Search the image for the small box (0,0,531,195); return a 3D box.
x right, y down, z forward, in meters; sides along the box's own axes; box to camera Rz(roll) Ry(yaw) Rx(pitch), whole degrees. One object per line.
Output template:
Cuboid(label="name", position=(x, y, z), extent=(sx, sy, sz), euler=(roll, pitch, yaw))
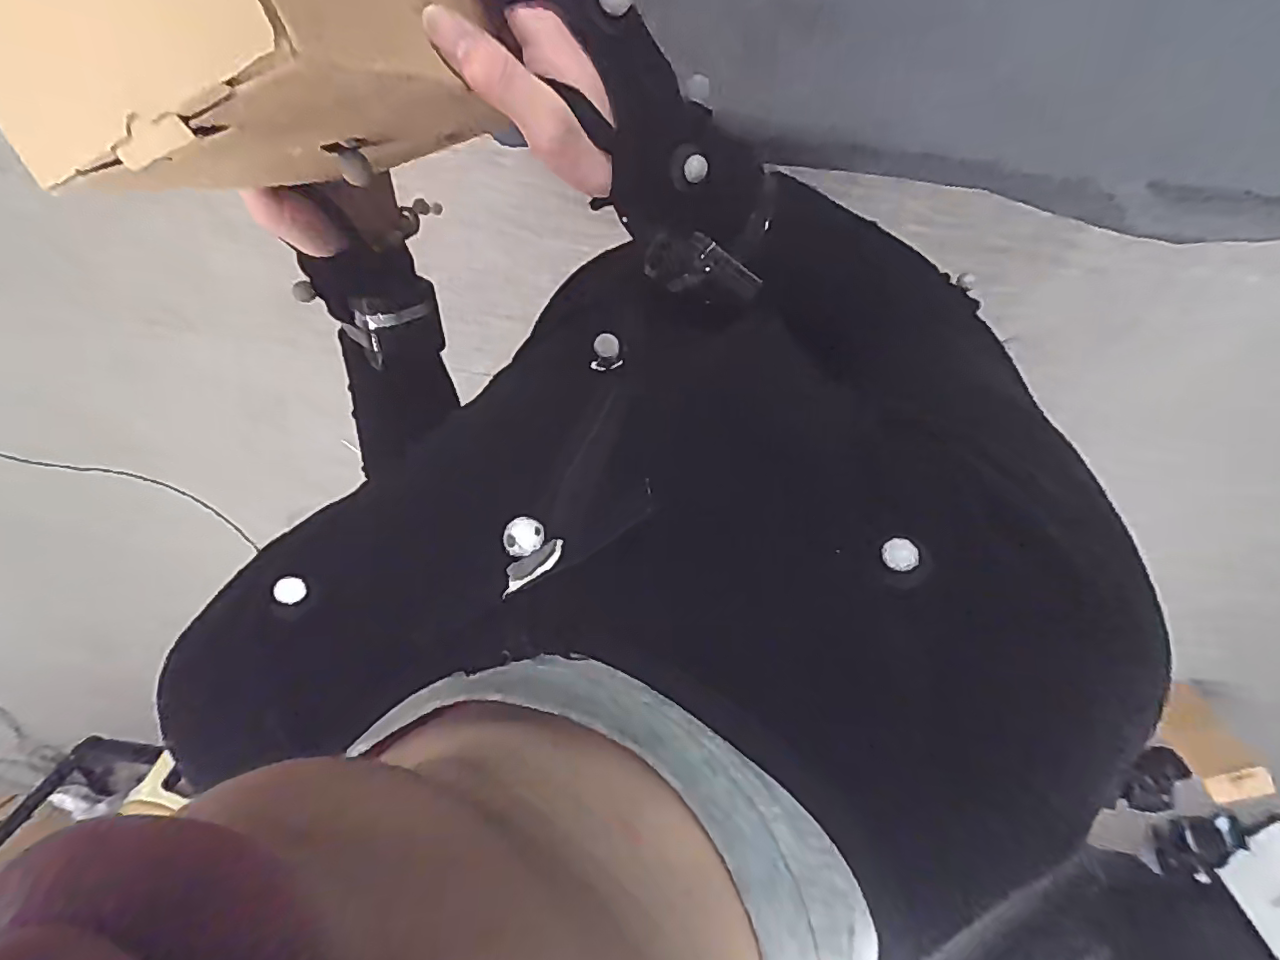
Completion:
Cuboid(label="small box", position=(-0.169, -0.235, 0.215), extent=(0.168, 0.176, 0.179), euler=(-3, 119, 24))
